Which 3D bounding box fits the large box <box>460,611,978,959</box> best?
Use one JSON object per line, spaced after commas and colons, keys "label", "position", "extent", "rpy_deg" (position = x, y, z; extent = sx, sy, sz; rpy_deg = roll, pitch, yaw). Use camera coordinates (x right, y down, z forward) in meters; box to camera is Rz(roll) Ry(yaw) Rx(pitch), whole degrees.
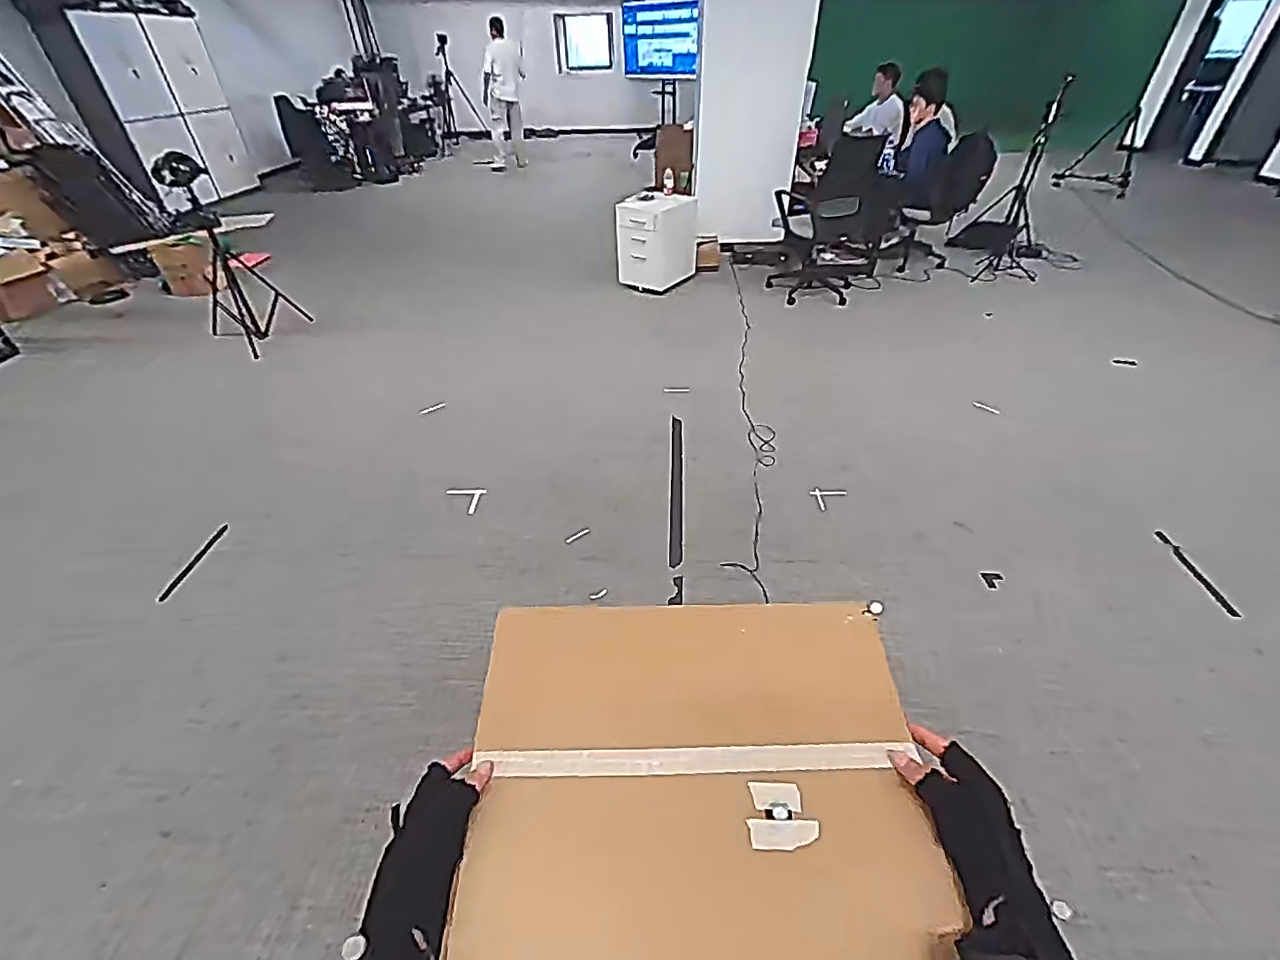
{"label": "large box", "position": [0.054, 0.361, 0.611], "extent": [0.408, 0.320, 0.320], "rpy_deg": [0, 49, -1]}
